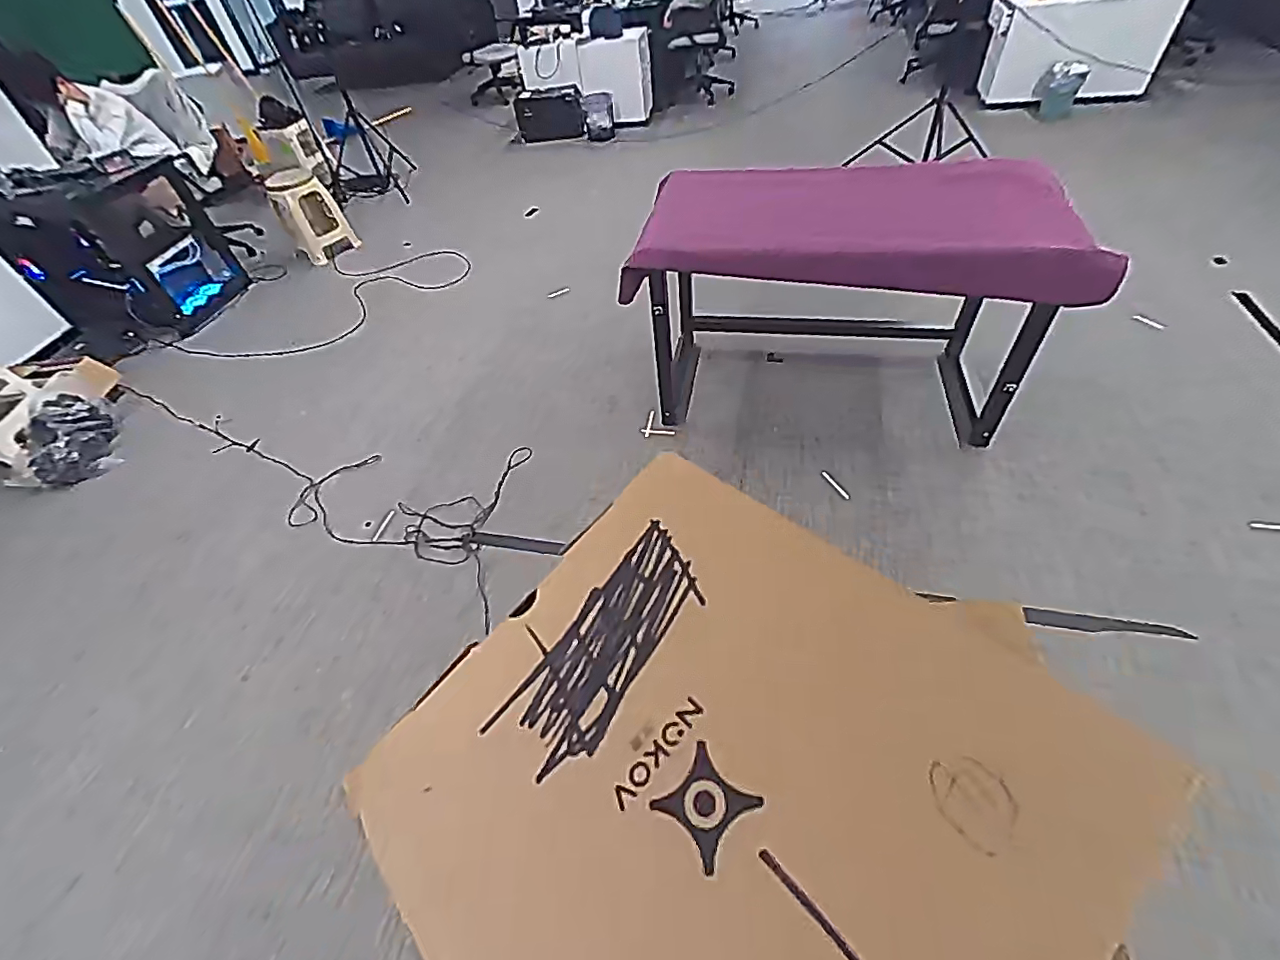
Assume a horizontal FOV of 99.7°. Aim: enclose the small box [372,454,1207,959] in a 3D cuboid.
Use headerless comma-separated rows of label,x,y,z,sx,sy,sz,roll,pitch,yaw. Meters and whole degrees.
small box,0.042,0.127,0.217,0.179,0.176,0.168,34,73,36
